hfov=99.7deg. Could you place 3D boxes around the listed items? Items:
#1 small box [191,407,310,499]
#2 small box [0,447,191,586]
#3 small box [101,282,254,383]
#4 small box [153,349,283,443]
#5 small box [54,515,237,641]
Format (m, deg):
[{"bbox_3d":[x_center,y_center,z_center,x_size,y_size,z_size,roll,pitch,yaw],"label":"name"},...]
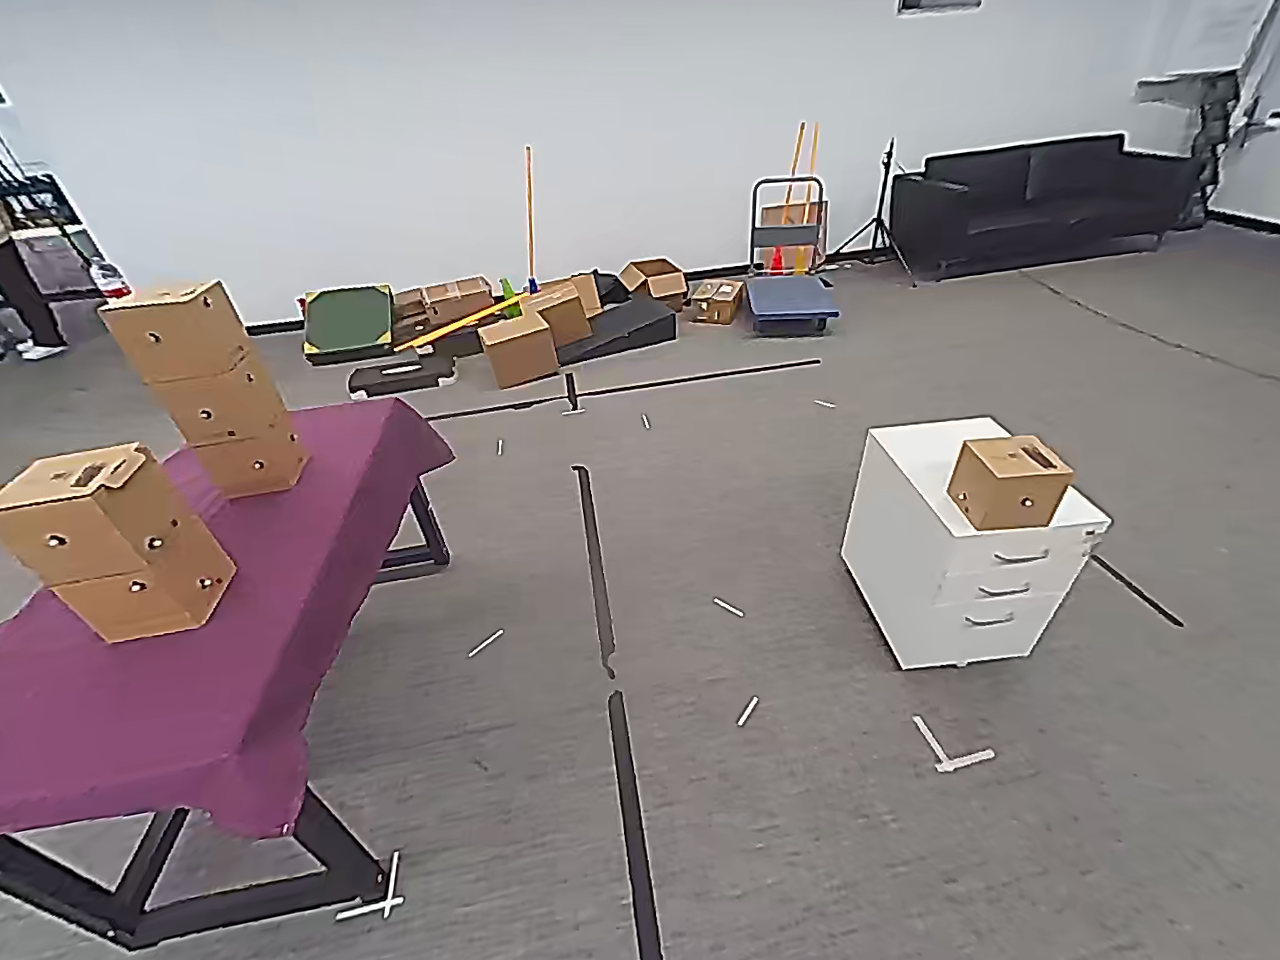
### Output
[{"bbox_3d":[-1.013,-0.071,1.429,0.179,0.176,0.168,-10,37,-5],"label":"small box"},{"bbox_3d":[-0.972,0.065,0.972,0.179,0.176,0.168,-11,37,-7],"label":"small box"},{"bbox_3d":[-1.040,-0.335,1.236,0.179,0.176,0.168,-10,37,-6],"label":"small box"},{"bbox_3d":[-1.021,-0.202,1.331,0.168,0.176,0.179,-9,36,-7],"label":"small box"},{"bbox_3d":[-0.959,0.196,1.071,0.179,0.176,0.168,-9,37,-7],"label":"small box"}]
